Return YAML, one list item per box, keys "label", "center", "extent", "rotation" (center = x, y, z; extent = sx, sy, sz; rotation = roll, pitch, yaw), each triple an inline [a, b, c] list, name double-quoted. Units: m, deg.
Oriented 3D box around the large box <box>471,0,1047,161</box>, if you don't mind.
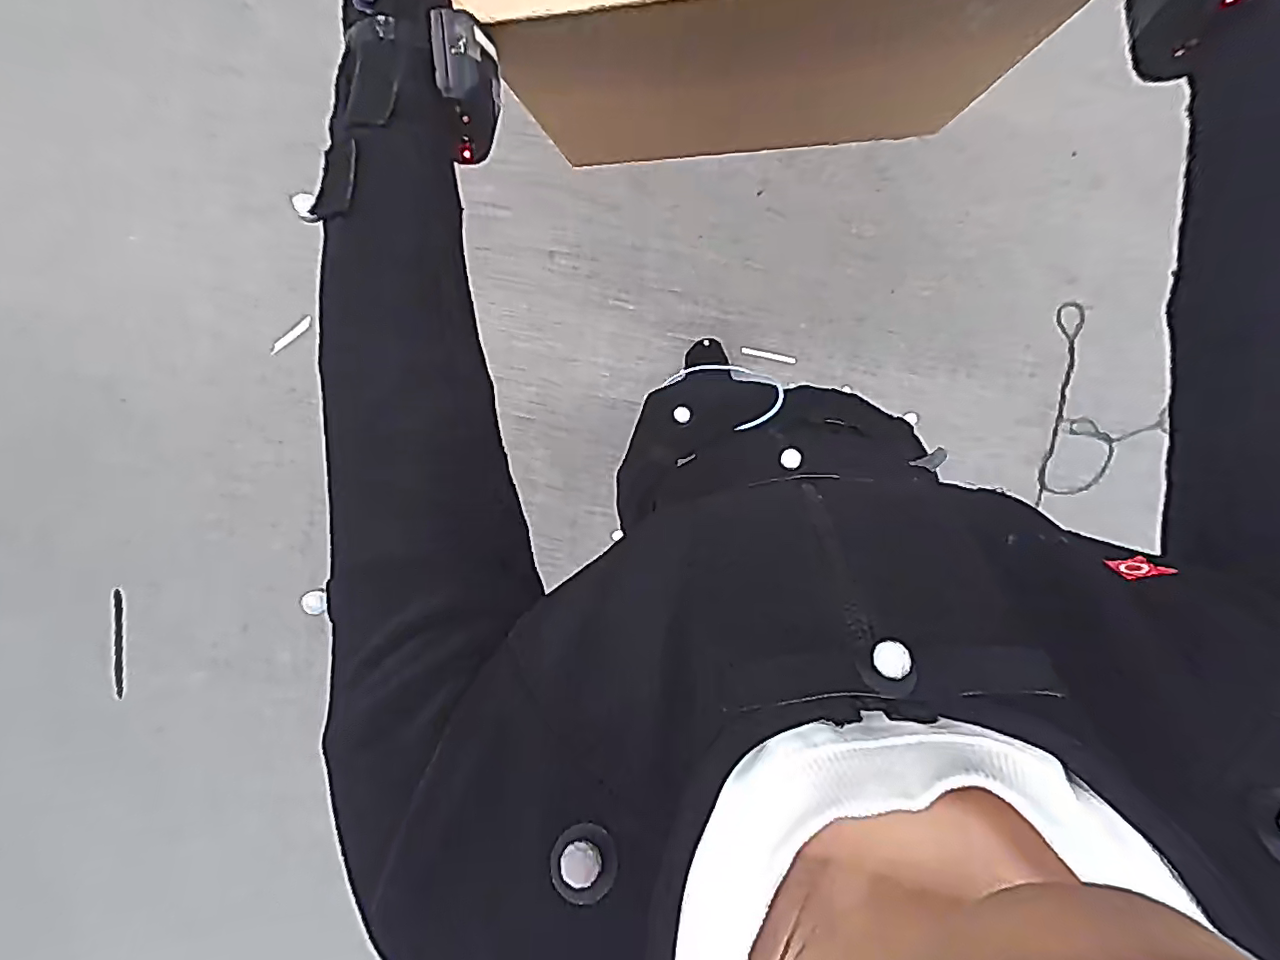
- label: "large box"
  center: [0.089, -0.488, 0.427]
  extent: [0.408, 0.320, 0.320]
  rotation: [-2, 105, 6]
